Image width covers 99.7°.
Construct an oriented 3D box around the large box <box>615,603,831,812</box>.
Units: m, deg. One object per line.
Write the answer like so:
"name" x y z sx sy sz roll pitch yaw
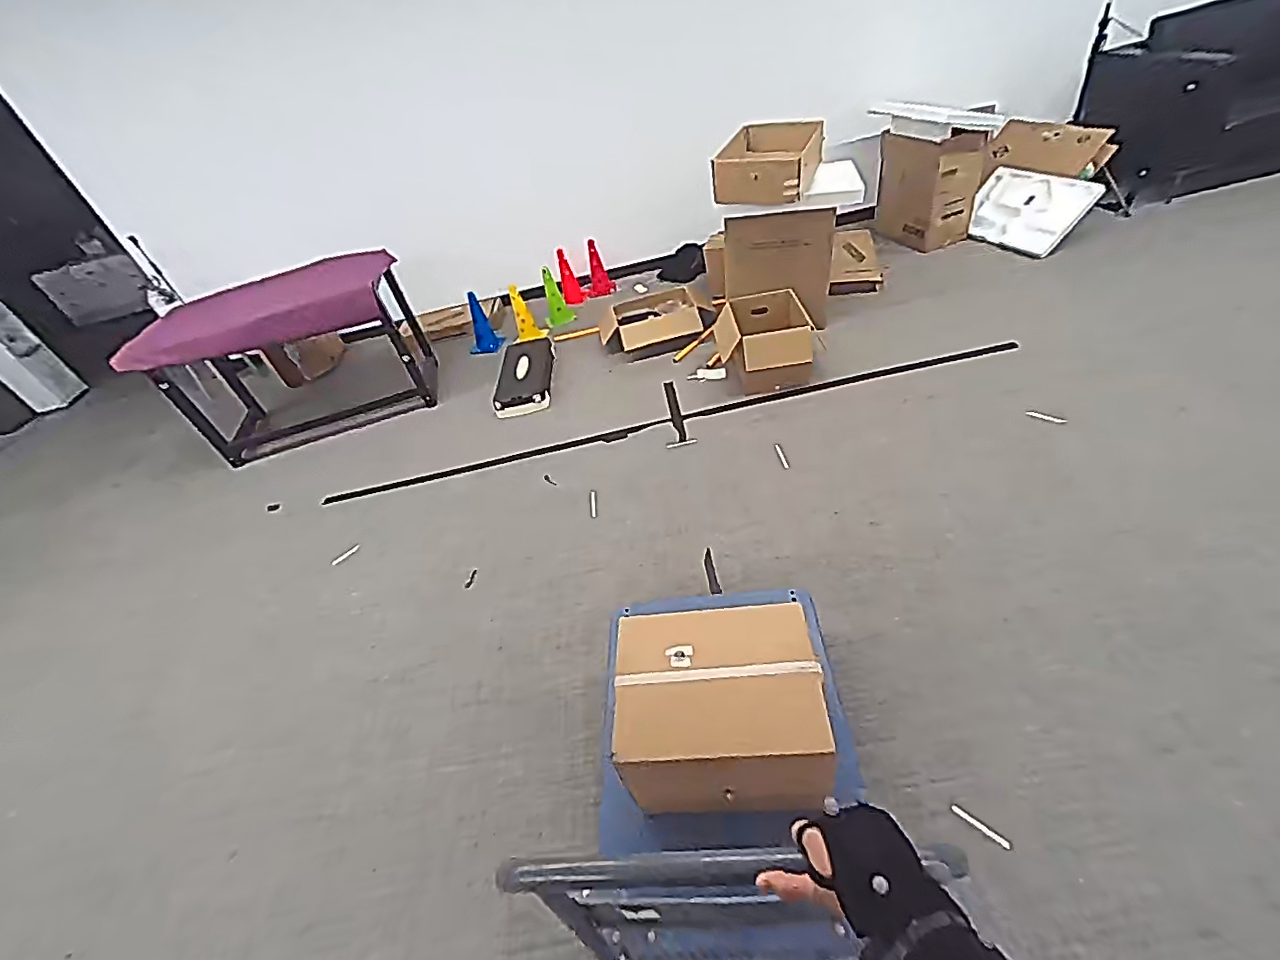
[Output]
"large box" 0.178 0.508 1.196 0.408 0.320 0.320 -8 41 8
